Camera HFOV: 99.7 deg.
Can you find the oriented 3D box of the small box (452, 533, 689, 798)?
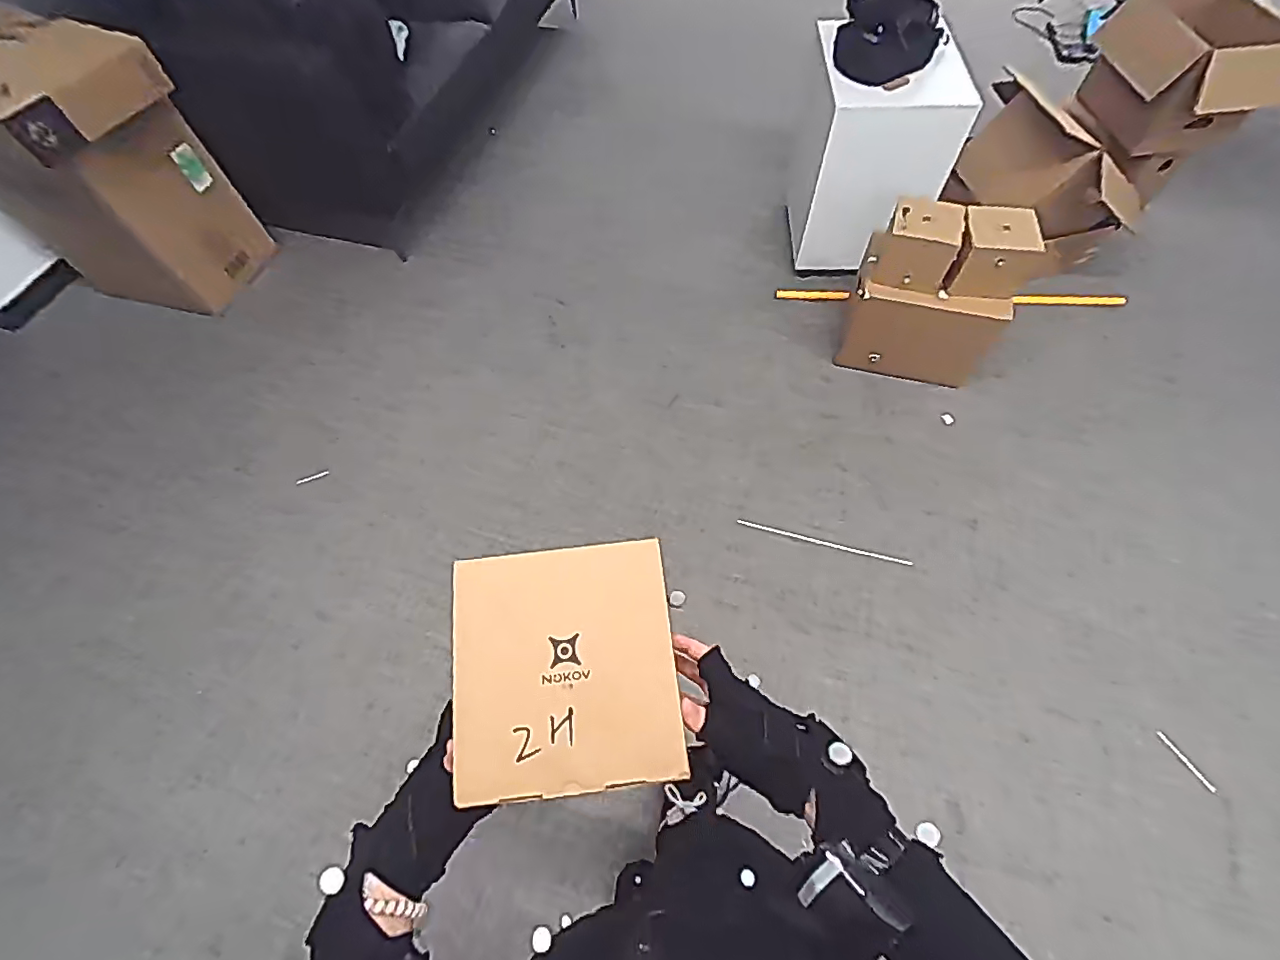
[{"bbox_3d":[-0.054,0.157,0.473,0.168,0.176,0.179,-6,70,-1],"label":"small box"}]
